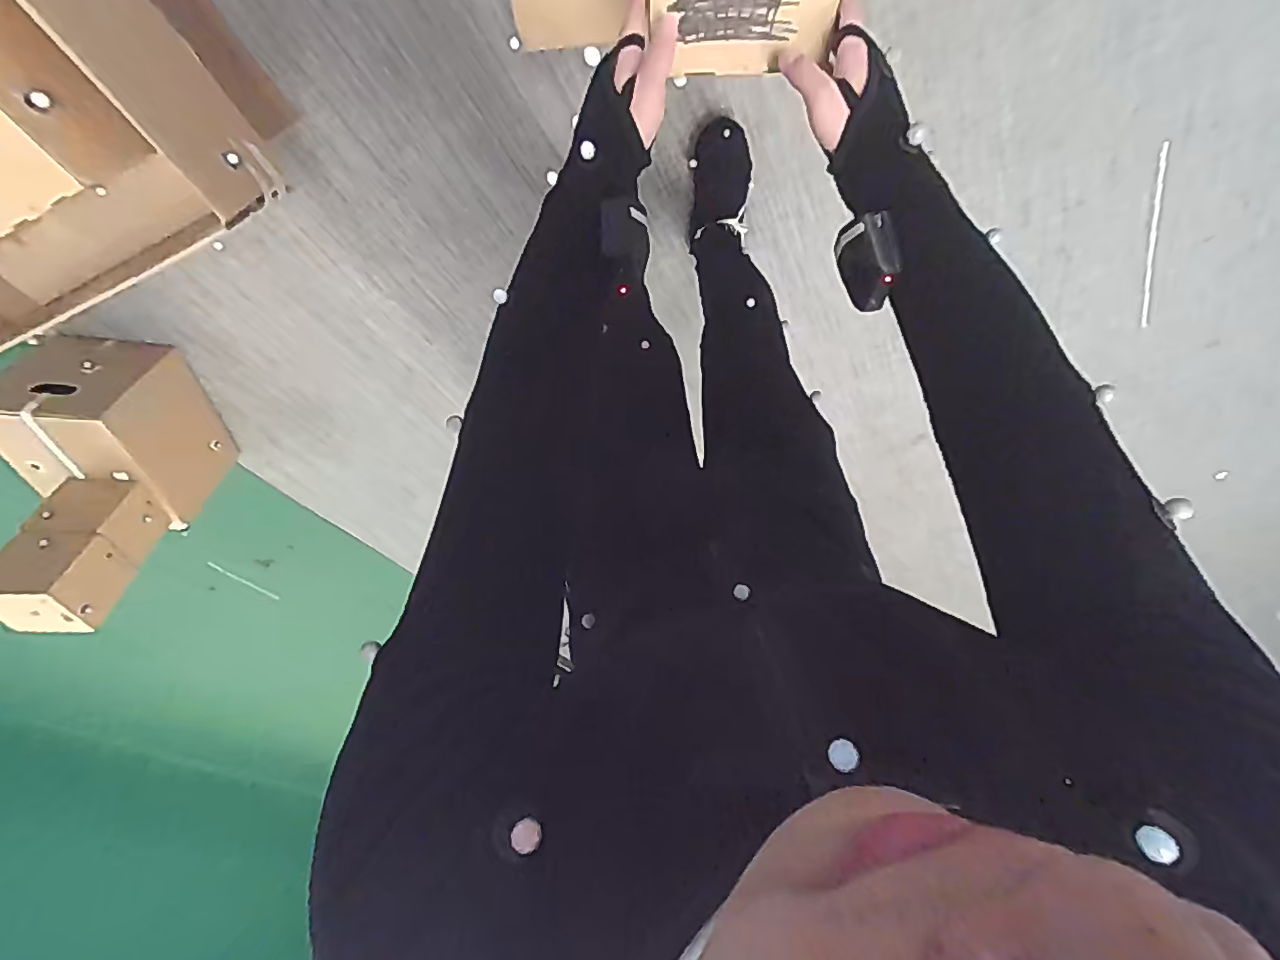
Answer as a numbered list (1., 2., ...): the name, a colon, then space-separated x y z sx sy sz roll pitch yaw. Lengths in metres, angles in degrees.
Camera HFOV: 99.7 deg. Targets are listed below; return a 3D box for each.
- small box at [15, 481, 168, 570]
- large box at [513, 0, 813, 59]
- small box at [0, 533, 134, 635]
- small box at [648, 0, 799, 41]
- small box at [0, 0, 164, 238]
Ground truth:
1. small box: -1.356 0.117 1.354 0.179 0.176 0.168 3 137 -6
2. large box: 0.021 -0.821 0.736 0.408 0.320 0.320 -3 136 4
3. small box: -1.343 0.236 1.242 0.179 0.176 0.168 3 136 -4
4. small box: 0.091 -0.614 0.598 0.168 0.176 0.179 -1 138 1
5. small box: -0.737 -0.427 0.635 0.168 0.176 0.179 -15 136 15
